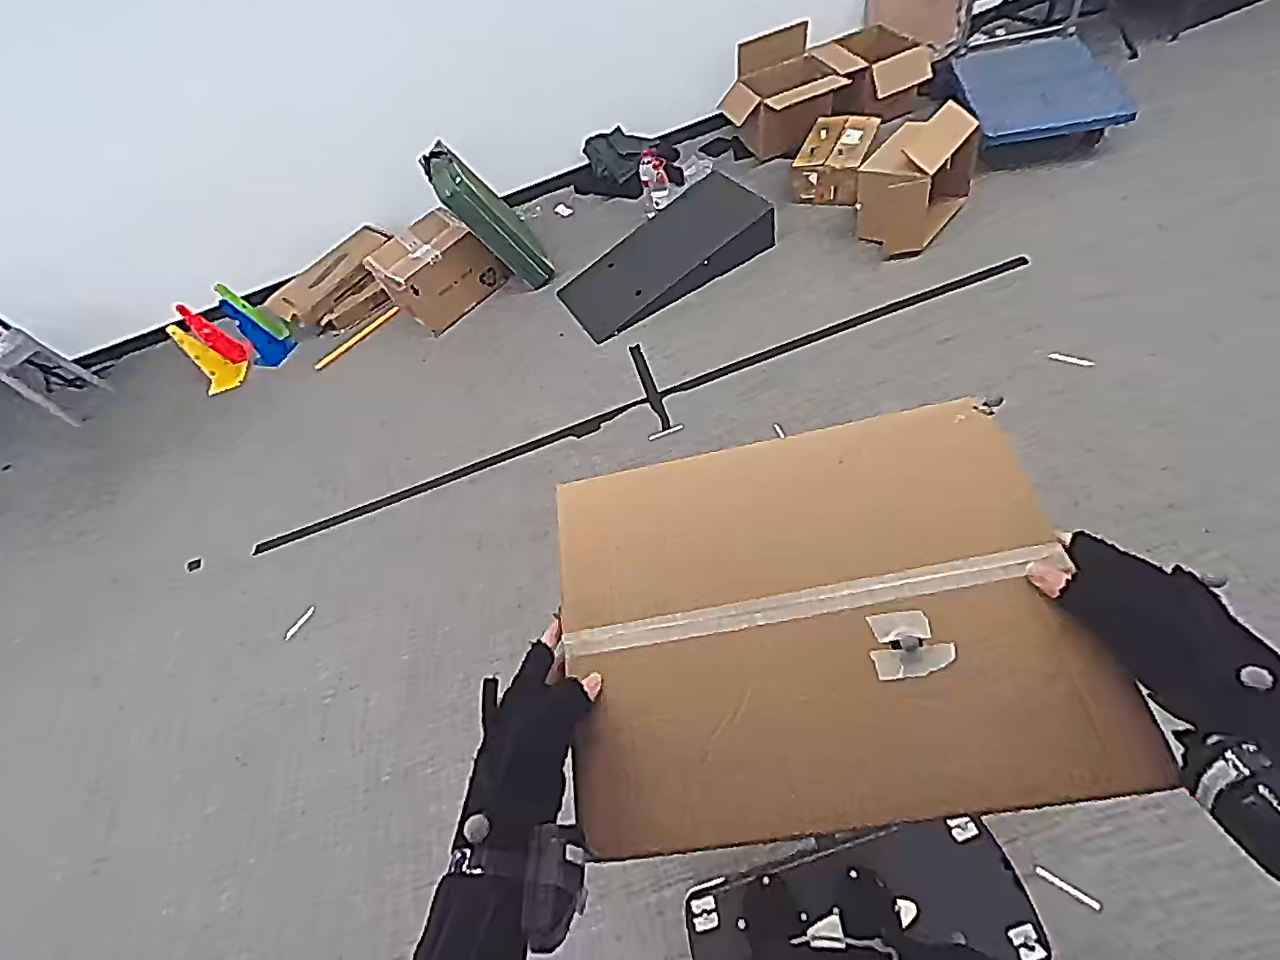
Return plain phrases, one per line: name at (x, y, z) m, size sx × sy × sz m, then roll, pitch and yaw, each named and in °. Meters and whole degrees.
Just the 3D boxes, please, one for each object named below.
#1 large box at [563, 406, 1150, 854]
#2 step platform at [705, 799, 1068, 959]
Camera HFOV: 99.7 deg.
large box at (0.162, 0.172, 0.584) m, size 0.408 × 0.320 × 0.320 m, roll -12°, pitch 62°, yaw 7°
step platform at (0.486, 0.914, 1.143) m, size 0.684 × 0.204 × 0.286 m, roll -21°, pitch 54°, yaw 0°
